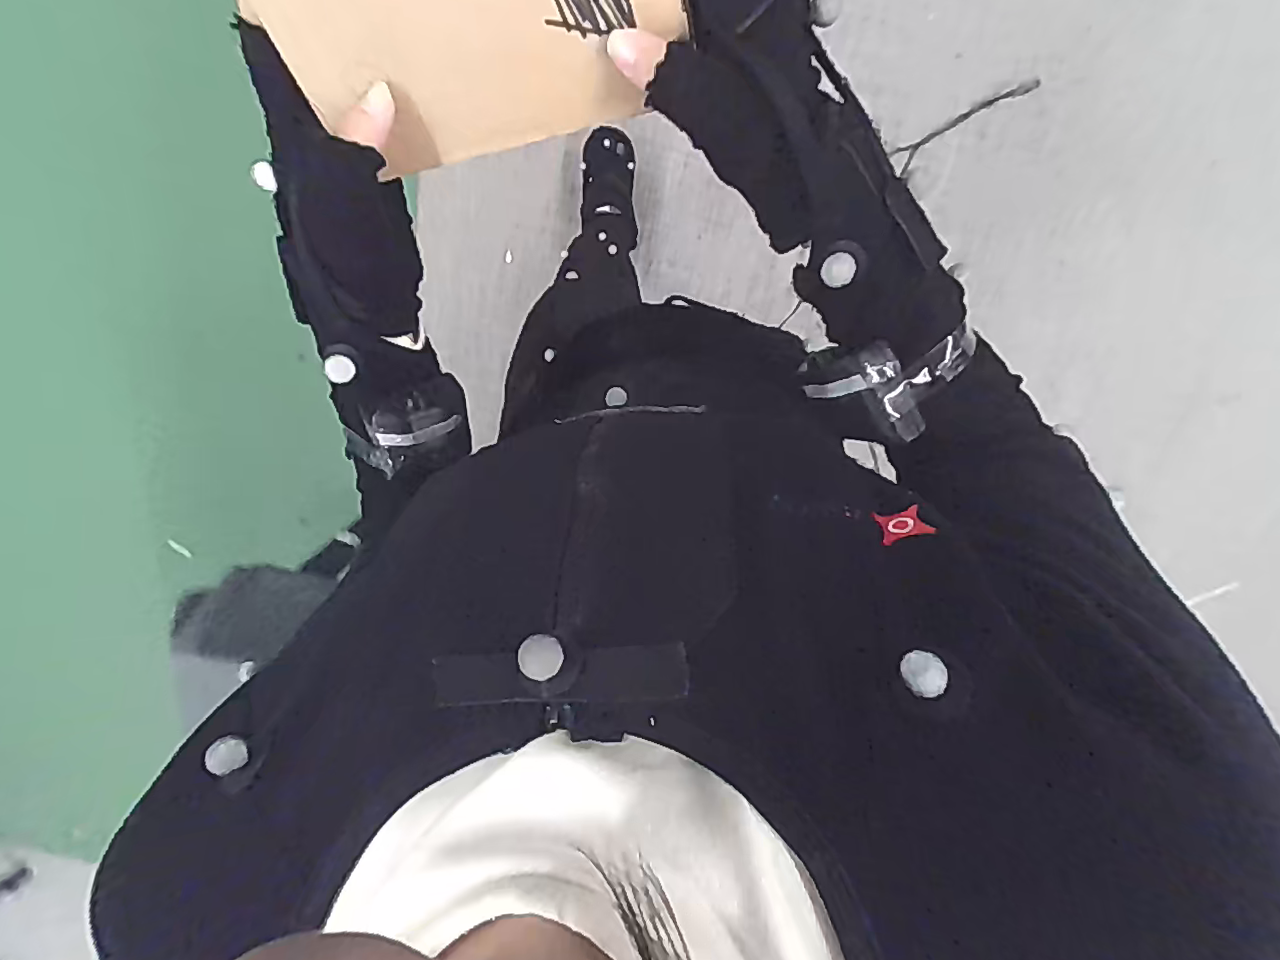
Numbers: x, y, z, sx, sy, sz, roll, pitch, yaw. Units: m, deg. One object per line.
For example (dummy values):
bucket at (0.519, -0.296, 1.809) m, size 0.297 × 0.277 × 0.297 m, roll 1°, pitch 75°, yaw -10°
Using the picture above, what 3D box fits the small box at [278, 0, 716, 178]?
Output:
small box at (-0.070, -0.281, 0.251) m, size 0.179 × 0.176 × 0.168 m, roll -10°, pitch 141°, yaw 12°
